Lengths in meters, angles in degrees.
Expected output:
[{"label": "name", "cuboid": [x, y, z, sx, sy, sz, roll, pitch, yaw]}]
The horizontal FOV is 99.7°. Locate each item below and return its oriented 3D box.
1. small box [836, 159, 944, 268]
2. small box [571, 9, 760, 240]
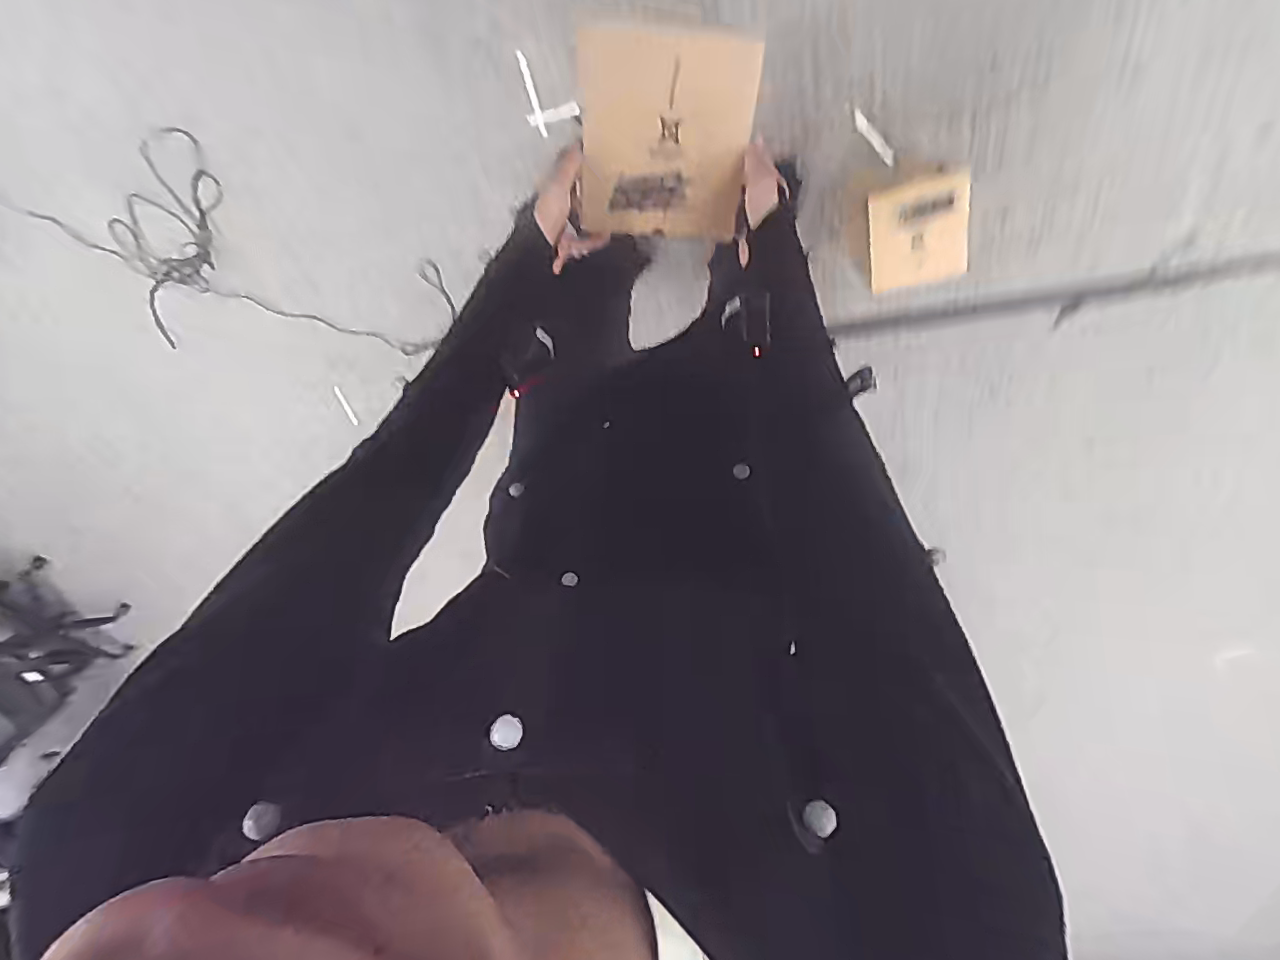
[{"label": "small box", "cuboid": [0.531, -0.579, 1.171, 0.179, 0.176, 0.168, -6, 124, 13]}, {"label": "small box", "cuboid": [0.011, -0.377, 0.586, 0.168, 0.176, 0.179, 0, 125, -9]}]
